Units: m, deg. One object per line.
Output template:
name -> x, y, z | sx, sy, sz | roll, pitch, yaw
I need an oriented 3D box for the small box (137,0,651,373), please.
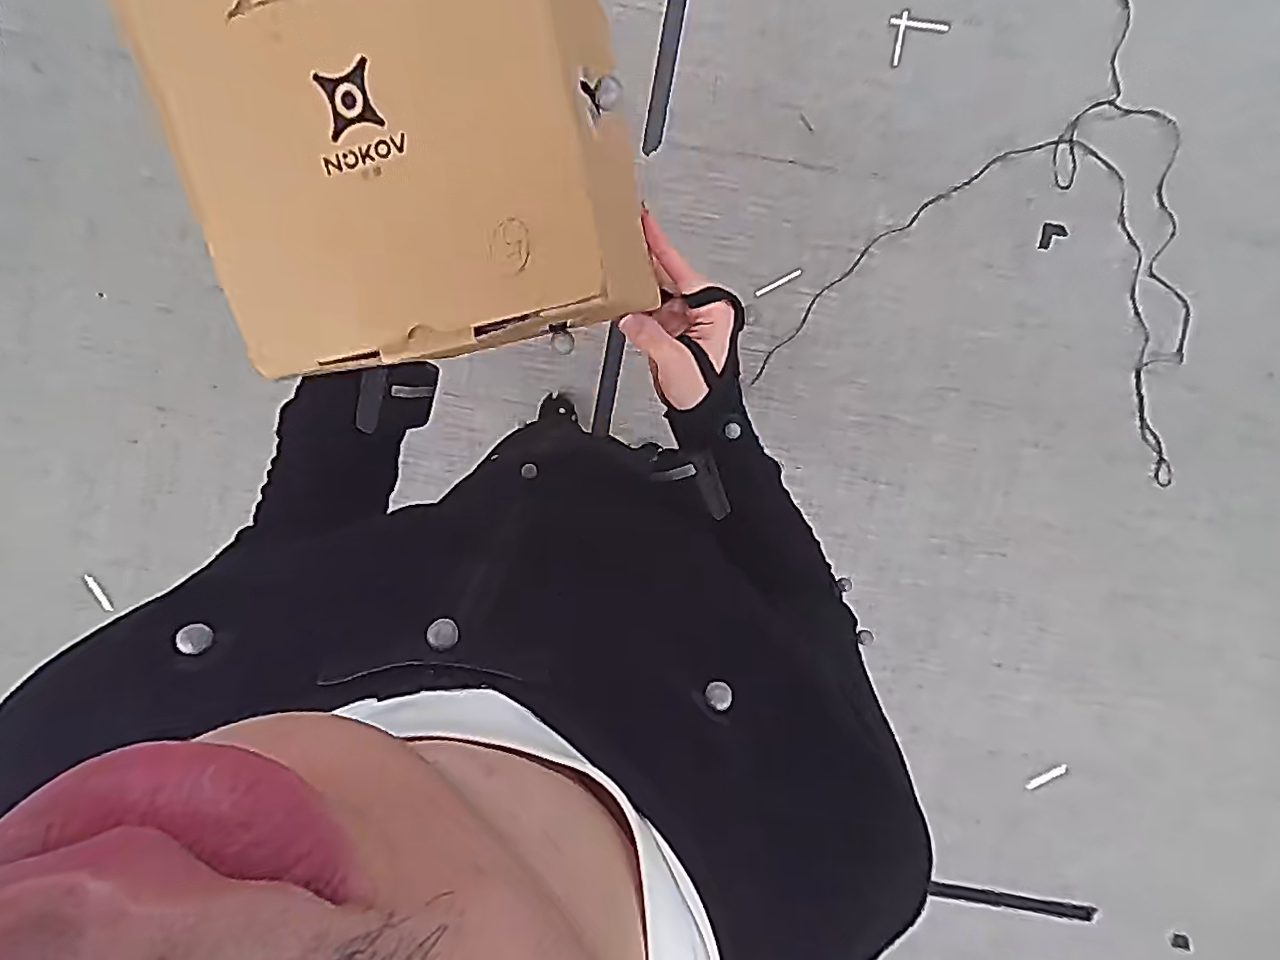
small box -> -0.097, -0.168, 0.293 | 0.168, 0.176, 0.179 | -10, 105, 11
